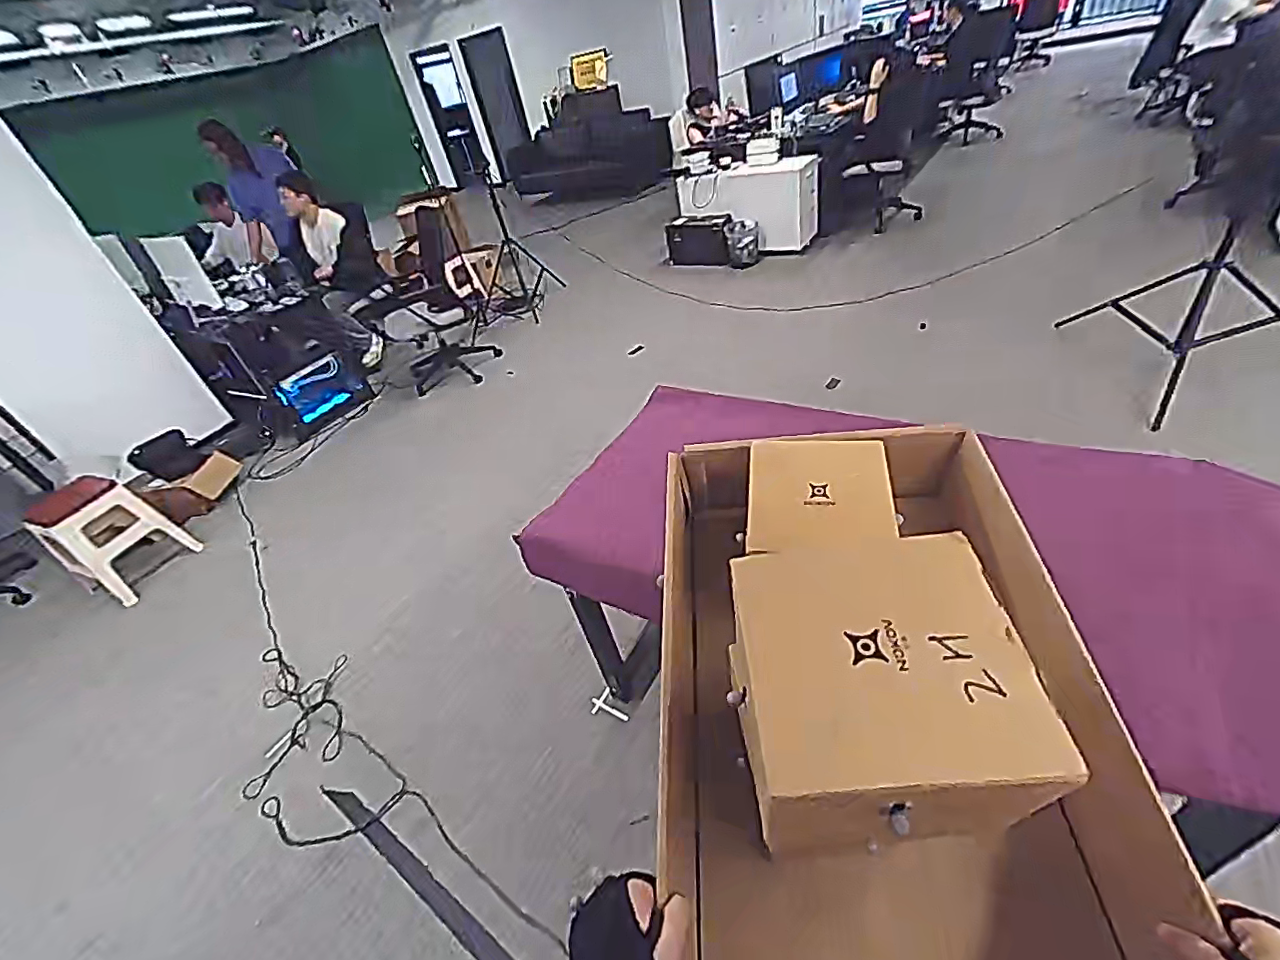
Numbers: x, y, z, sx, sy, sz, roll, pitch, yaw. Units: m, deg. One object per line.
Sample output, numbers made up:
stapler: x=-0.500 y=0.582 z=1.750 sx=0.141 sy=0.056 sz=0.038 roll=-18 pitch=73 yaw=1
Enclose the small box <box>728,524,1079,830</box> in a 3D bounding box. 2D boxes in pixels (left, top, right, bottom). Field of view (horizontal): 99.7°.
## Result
small box: x=0.168 y=0.156 z=0.415 sx=0.179 sy=0.176 sz=0.168 roll=-7 pitch=48 yaw=6
